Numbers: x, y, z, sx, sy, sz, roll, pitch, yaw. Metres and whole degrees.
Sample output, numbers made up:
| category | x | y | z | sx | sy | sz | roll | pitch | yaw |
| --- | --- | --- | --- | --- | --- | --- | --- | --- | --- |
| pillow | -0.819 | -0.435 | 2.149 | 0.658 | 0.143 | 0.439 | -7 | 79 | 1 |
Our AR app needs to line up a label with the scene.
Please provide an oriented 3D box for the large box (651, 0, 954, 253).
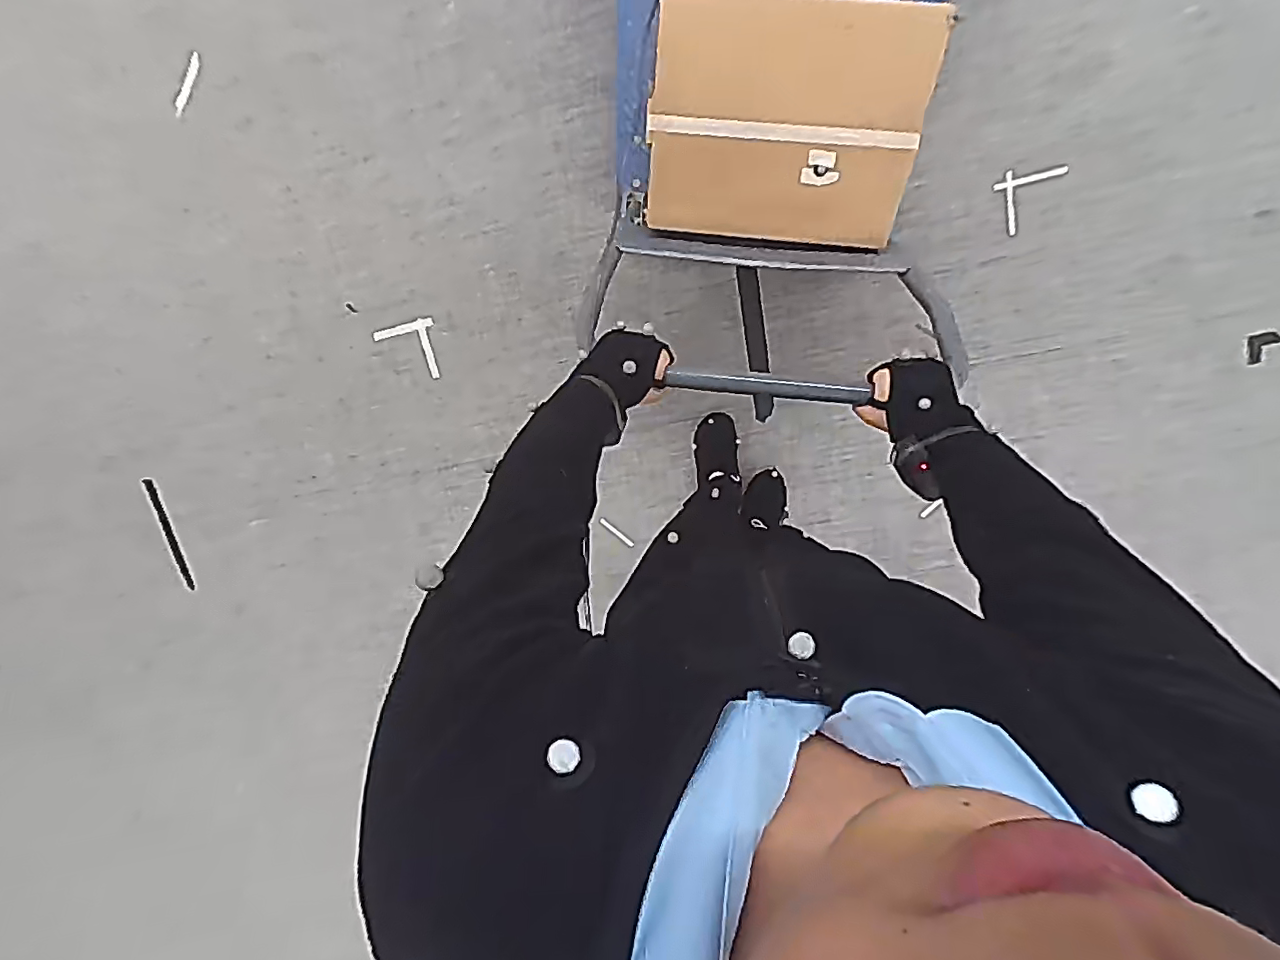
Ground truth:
| category | x | y | z | sx | sy | sz | roll | pitch | yaw |
| --- | --- | --- | --- | --- | --- | --- | --- | --- | --- |
| large box | 0.234 | -0.606 | 0.944 | 0.408 | 0.320 | 0.320 | 6 | 127 | 3 |
